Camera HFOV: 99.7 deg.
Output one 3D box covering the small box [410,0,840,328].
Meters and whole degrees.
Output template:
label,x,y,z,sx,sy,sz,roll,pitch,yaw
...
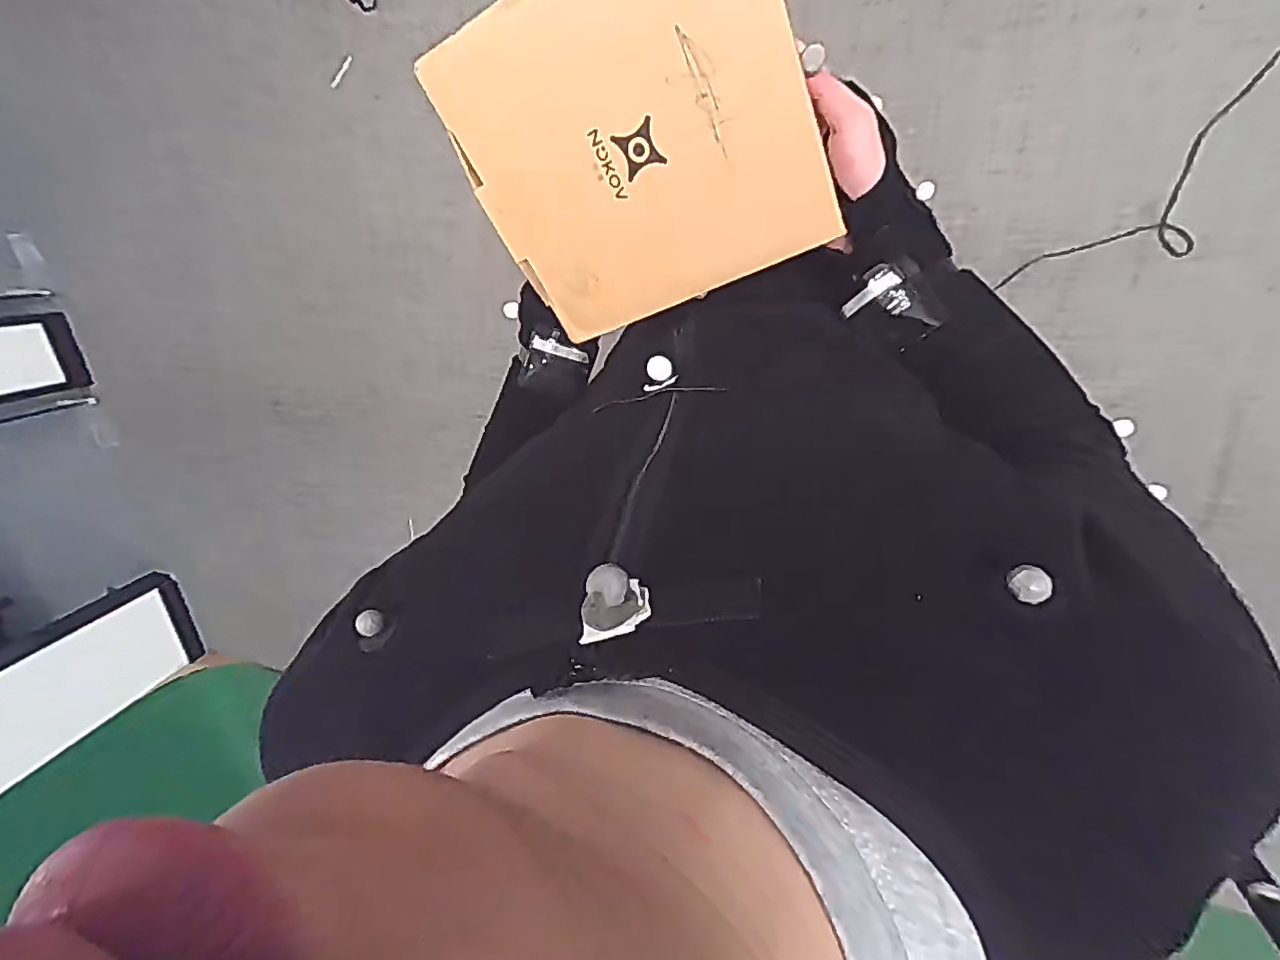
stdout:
label,x,y,z,sx,sy,sz,roll,pitch,yaw
small box,0.008,-0.228,0.334,0.179,0.176,0.168,-16,126,24
